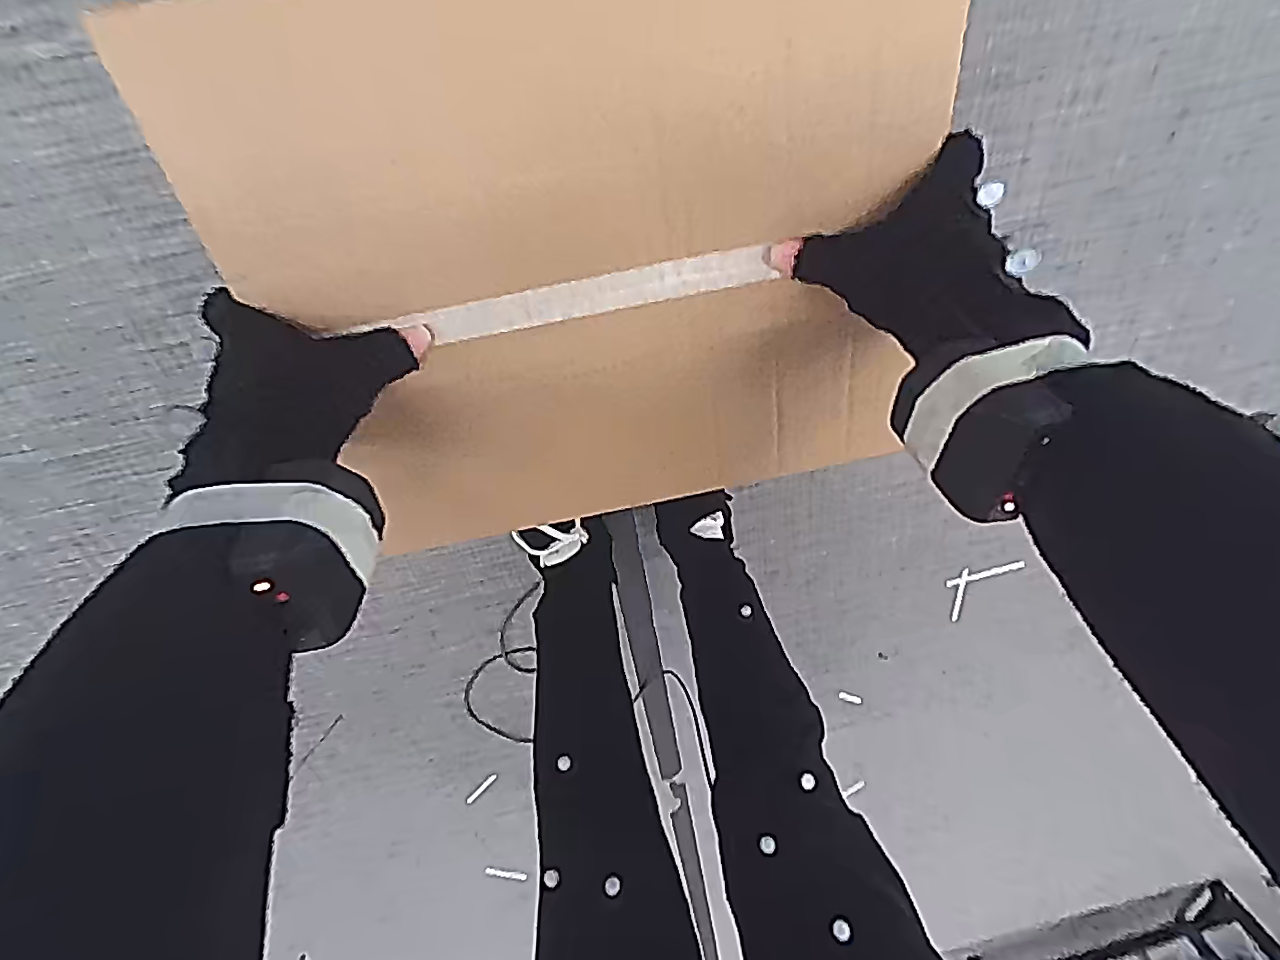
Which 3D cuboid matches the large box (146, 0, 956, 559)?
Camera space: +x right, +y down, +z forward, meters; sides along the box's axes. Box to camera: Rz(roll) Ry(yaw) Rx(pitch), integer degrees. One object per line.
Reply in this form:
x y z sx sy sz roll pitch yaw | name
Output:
-0.036 -0.183 0.458 0.408 0.320 0.320 -12 124 -3 | large box
